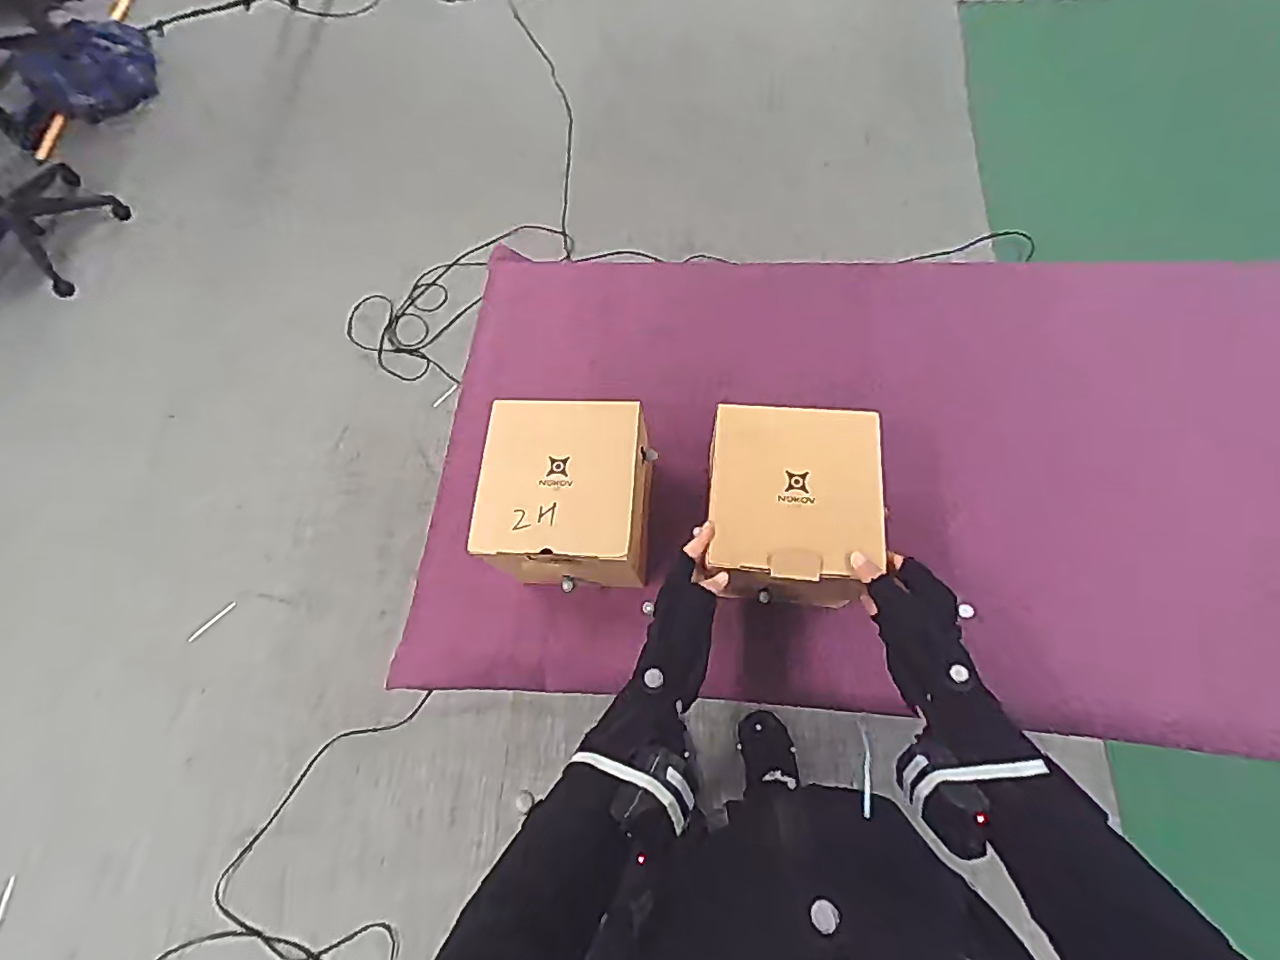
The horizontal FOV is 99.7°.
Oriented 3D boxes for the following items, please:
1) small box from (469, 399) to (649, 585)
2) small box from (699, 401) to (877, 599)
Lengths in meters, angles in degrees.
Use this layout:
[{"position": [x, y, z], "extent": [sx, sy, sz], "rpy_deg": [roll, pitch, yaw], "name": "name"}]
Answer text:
[{"position": [-0.081, 0.020, 0.643], "extent": [0.168, 0.176, 0.179], "rpy_deg": [1, 70, 7], "name": "small box"}, {"position": [0.156, 0.030, 0.615], "extent": [0.168, 0.176, 0.179], "rpy_deg": [4, 71, 7], "name": "small box"}]
